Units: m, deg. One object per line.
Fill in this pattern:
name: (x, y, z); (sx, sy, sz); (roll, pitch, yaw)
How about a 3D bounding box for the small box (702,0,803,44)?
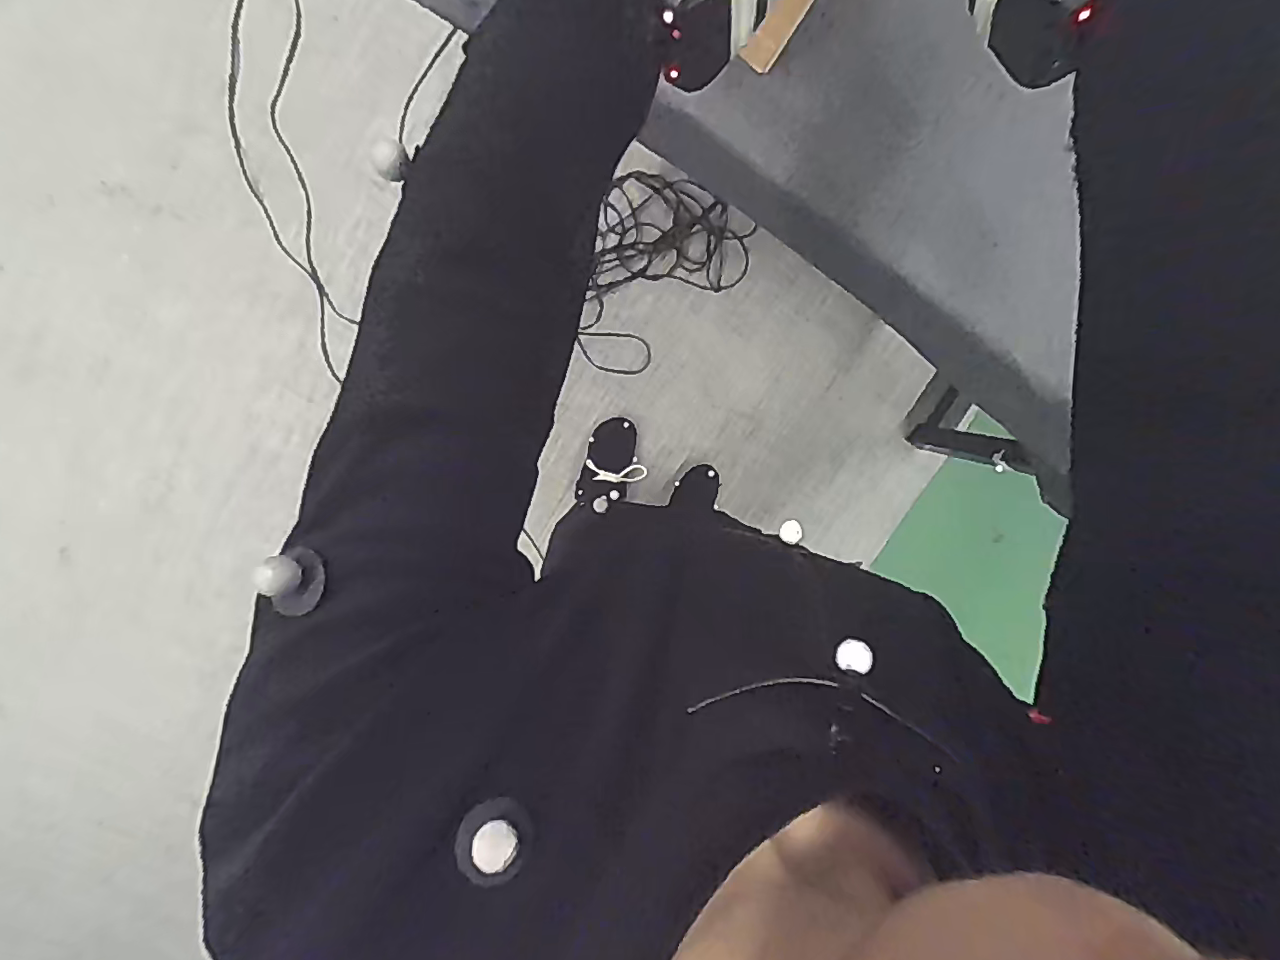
small box: (0.106, -0.511, 0.428); (0.179, 0.176, 0.168); (33, 96, -13)
